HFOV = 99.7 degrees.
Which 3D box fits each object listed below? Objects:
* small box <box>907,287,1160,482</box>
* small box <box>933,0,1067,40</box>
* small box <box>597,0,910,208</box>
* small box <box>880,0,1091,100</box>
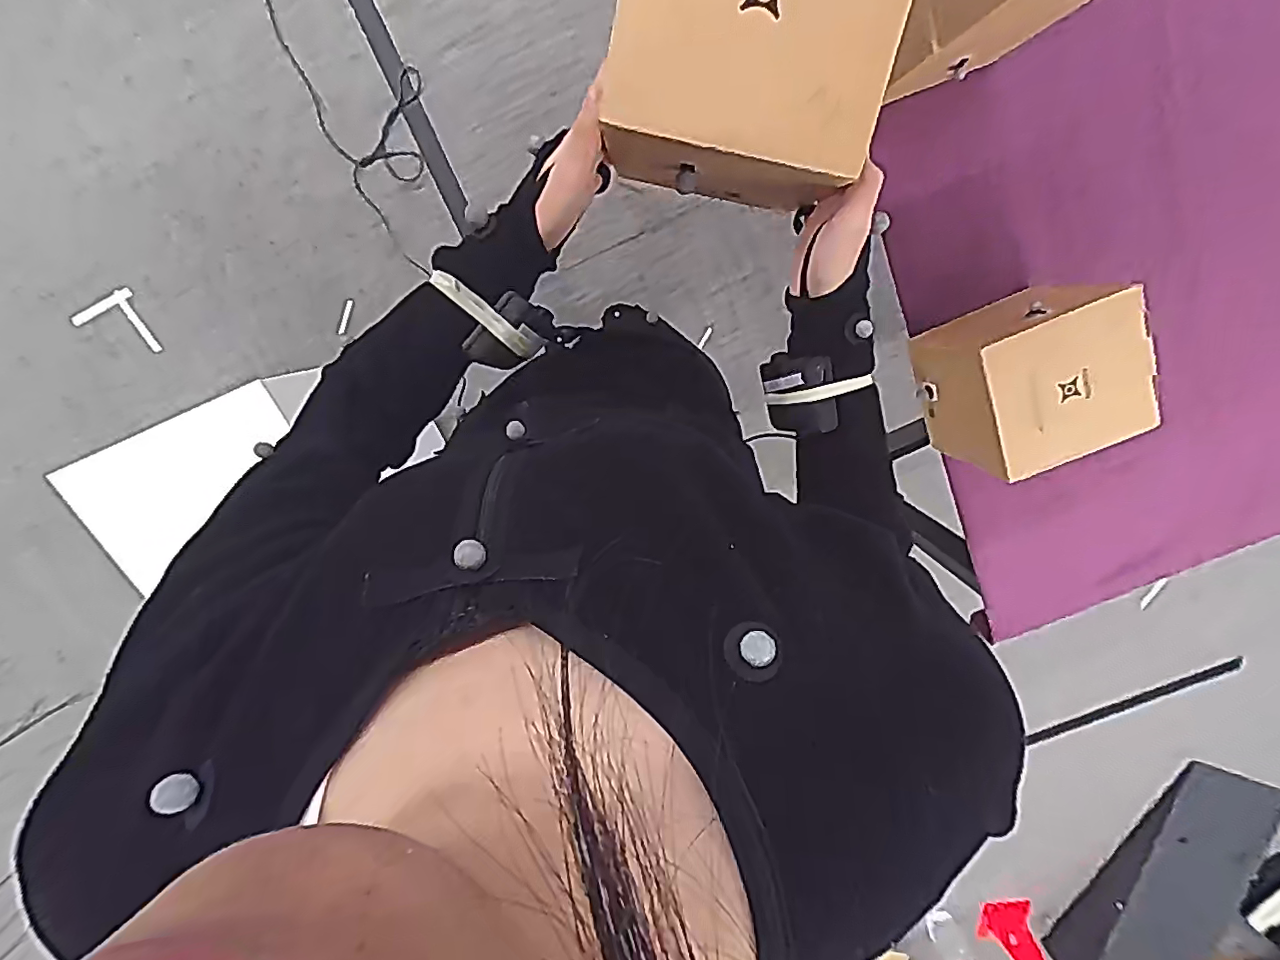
[{"bbox_3d":[0.467,-0.123,0.663,0.179,0.176,0.168,-23,106,6],"label":"small box"},{"bbox_3d":[0.326,-0.459,0.373,0.179,0.176,0.168,-19,108,4],"label":"small box"},{"bbox_3d":[0.073,-0.305,0.374,0.168,0.176,0.179,11,108,-2],"label":"small box"},{"bbox_3d":[0.309,-0.509,0.529,0.168,0.176,0.179,-19,108,3],"label":"small box"}]
